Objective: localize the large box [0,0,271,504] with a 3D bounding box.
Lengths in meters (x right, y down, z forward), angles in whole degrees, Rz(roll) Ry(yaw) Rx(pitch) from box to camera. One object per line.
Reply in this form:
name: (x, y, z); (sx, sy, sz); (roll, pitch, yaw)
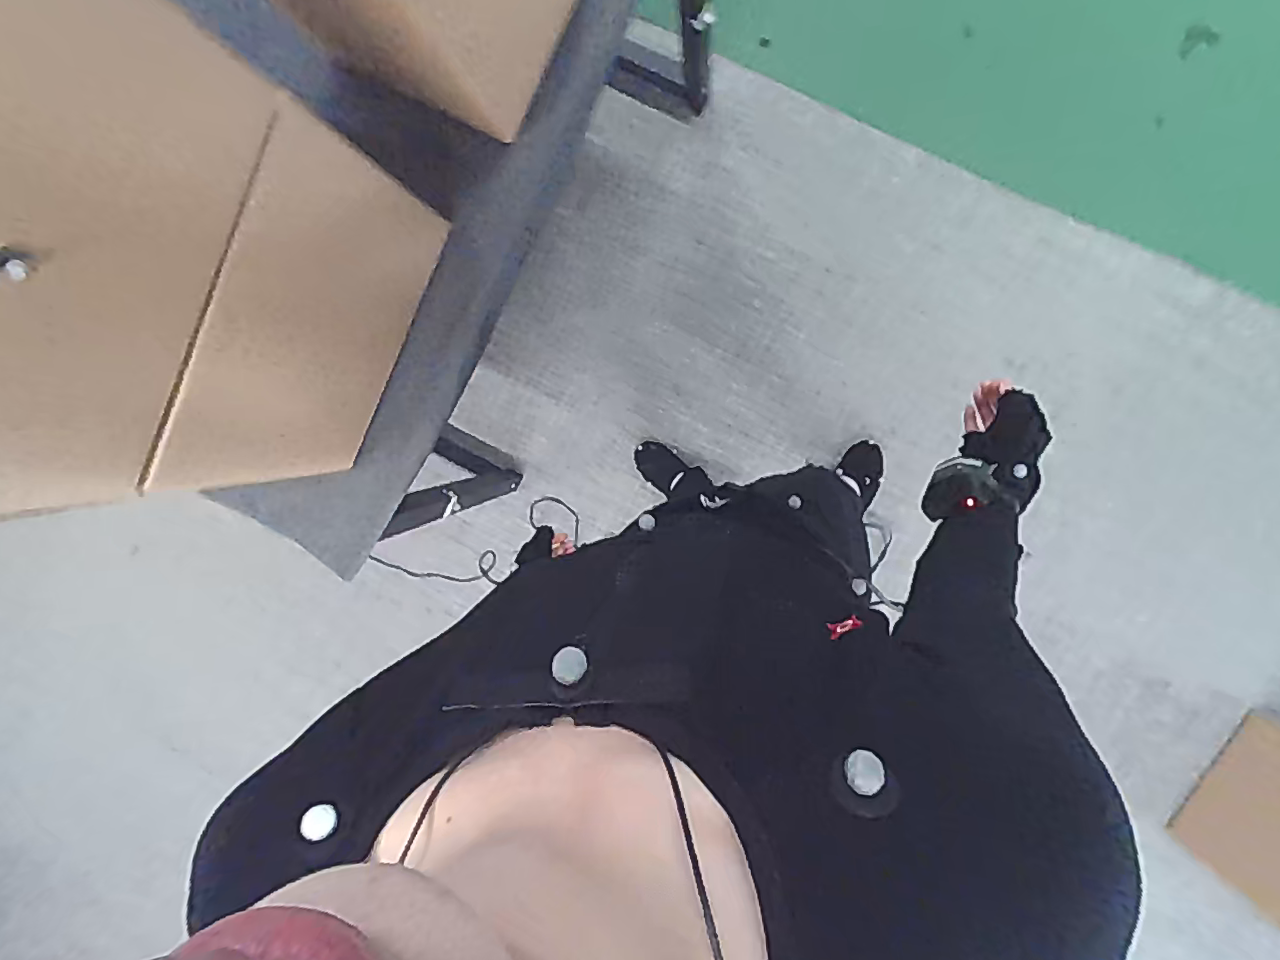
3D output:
large box: (-0.543, -0.218, 0.353); (0.320, 0.320, 0.408); (27, 99, 3)
